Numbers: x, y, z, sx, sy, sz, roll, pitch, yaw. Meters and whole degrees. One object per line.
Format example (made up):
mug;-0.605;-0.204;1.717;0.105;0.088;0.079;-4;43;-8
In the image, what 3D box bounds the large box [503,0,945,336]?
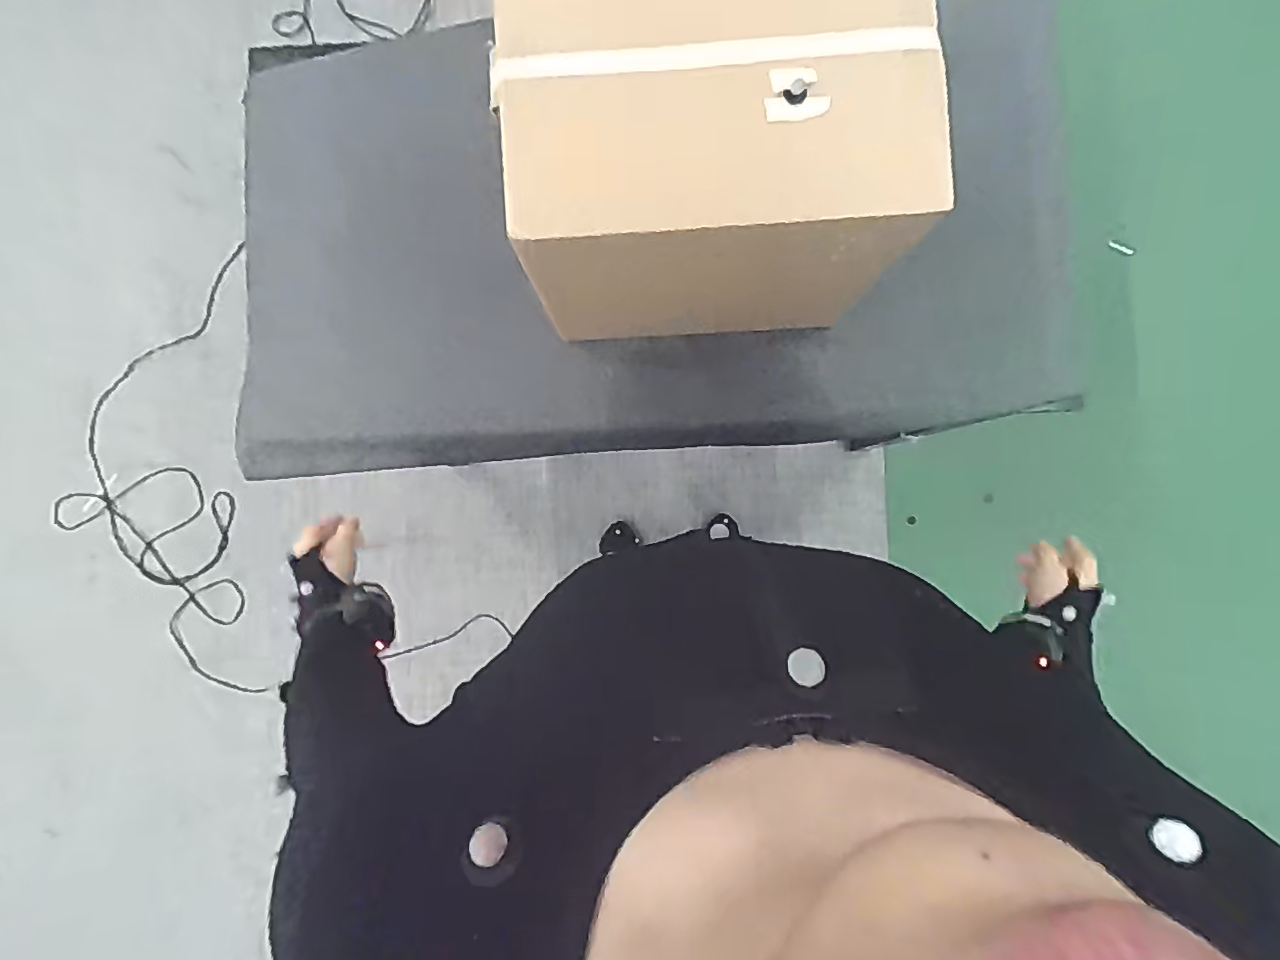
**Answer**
large box;0.074;-0.385;0.656;0.408;0.320;0.320;-4;88;0
